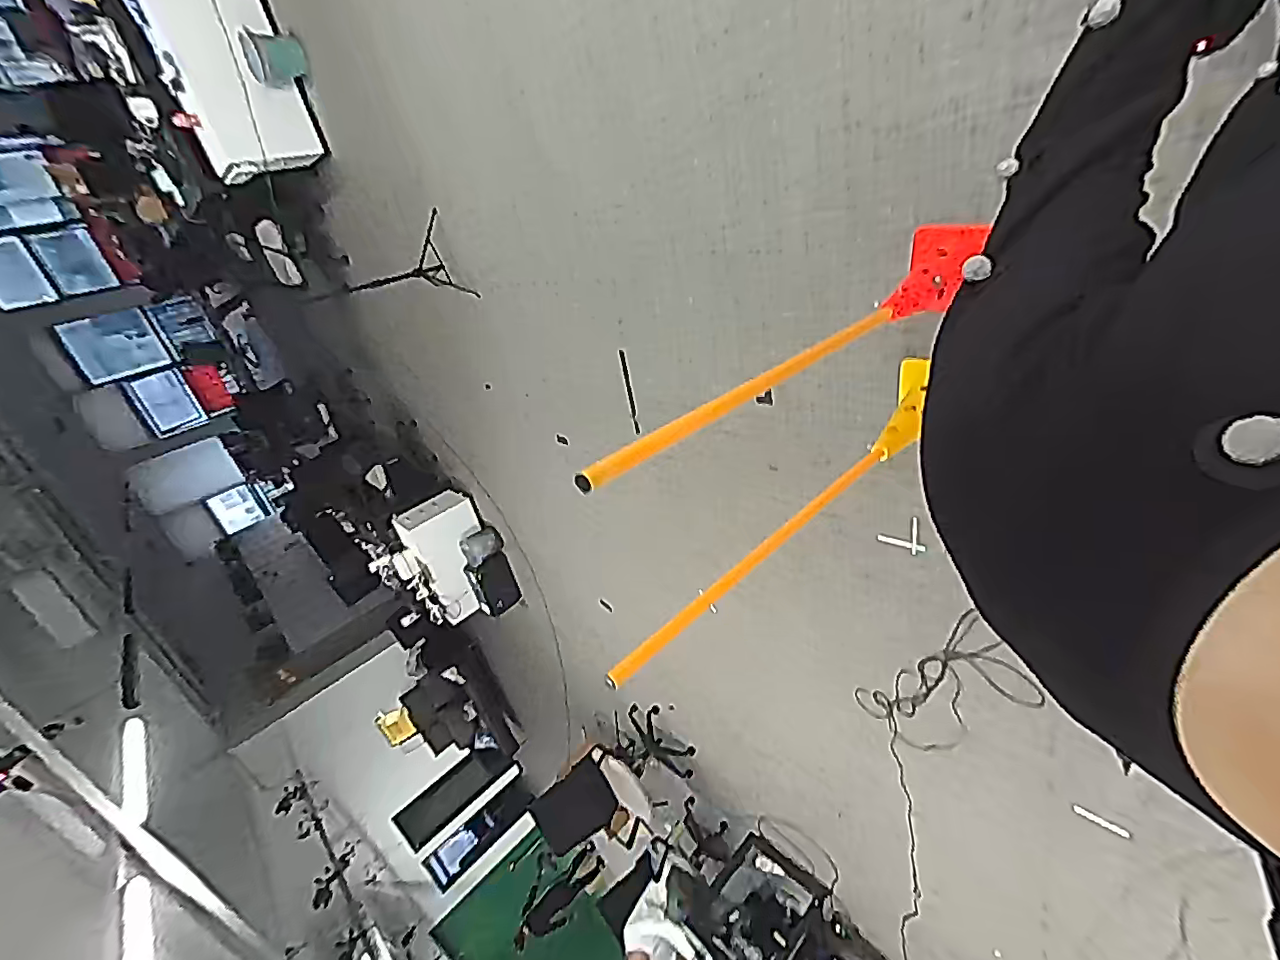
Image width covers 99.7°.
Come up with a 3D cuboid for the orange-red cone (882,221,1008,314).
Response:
[{"bbox_3d":[0.632,-0.438,1.199,0.198,0.360,0.199,24,133,39],"label":"orange-red cone"}]
